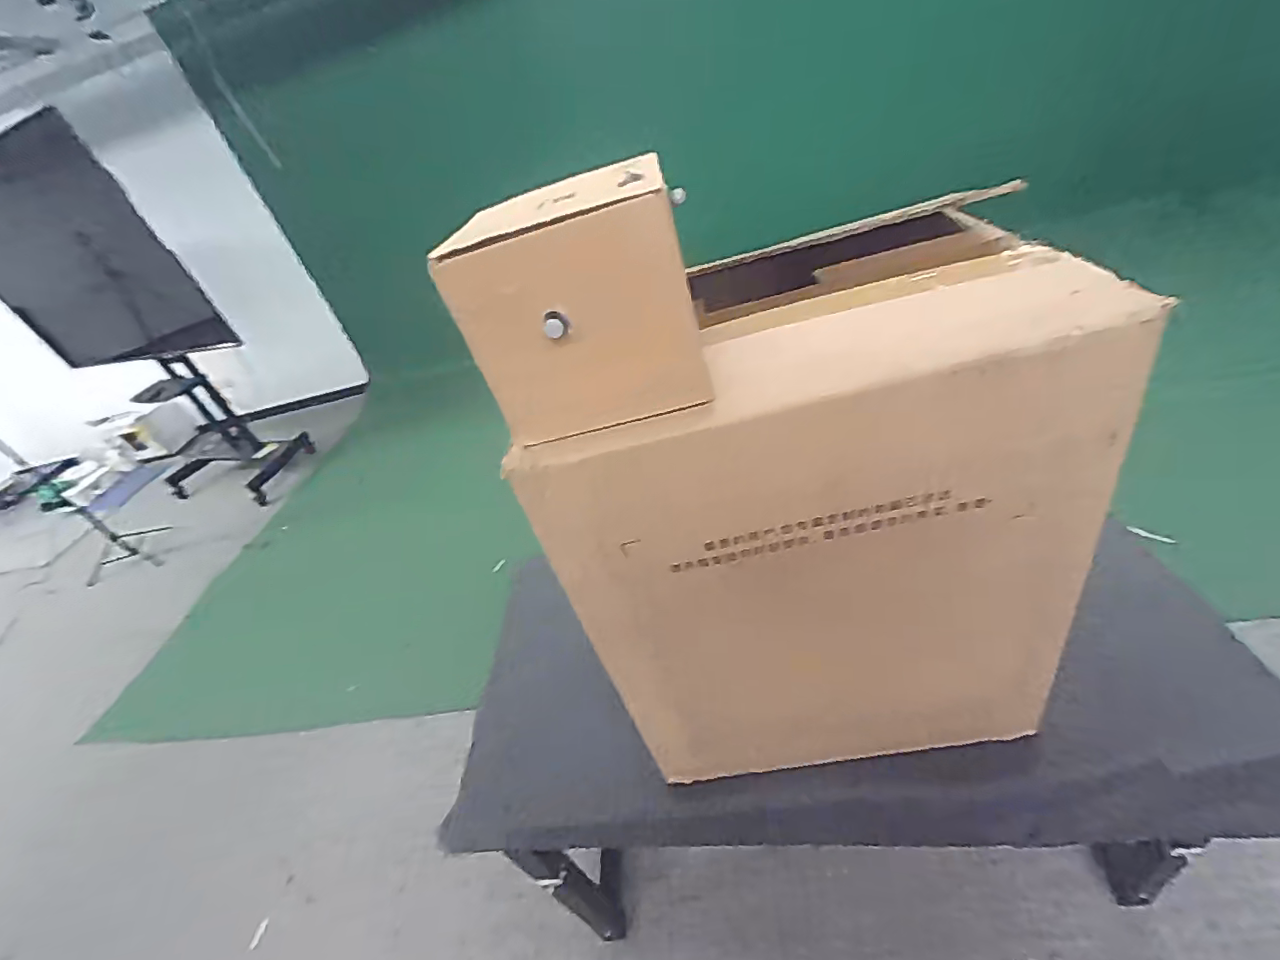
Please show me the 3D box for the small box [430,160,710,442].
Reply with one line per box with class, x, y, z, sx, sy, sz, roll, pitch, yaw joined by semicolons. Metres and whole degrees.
small box;-0.048;-0.156;0.486;0.179;0.176;0.168;-14;38;10
